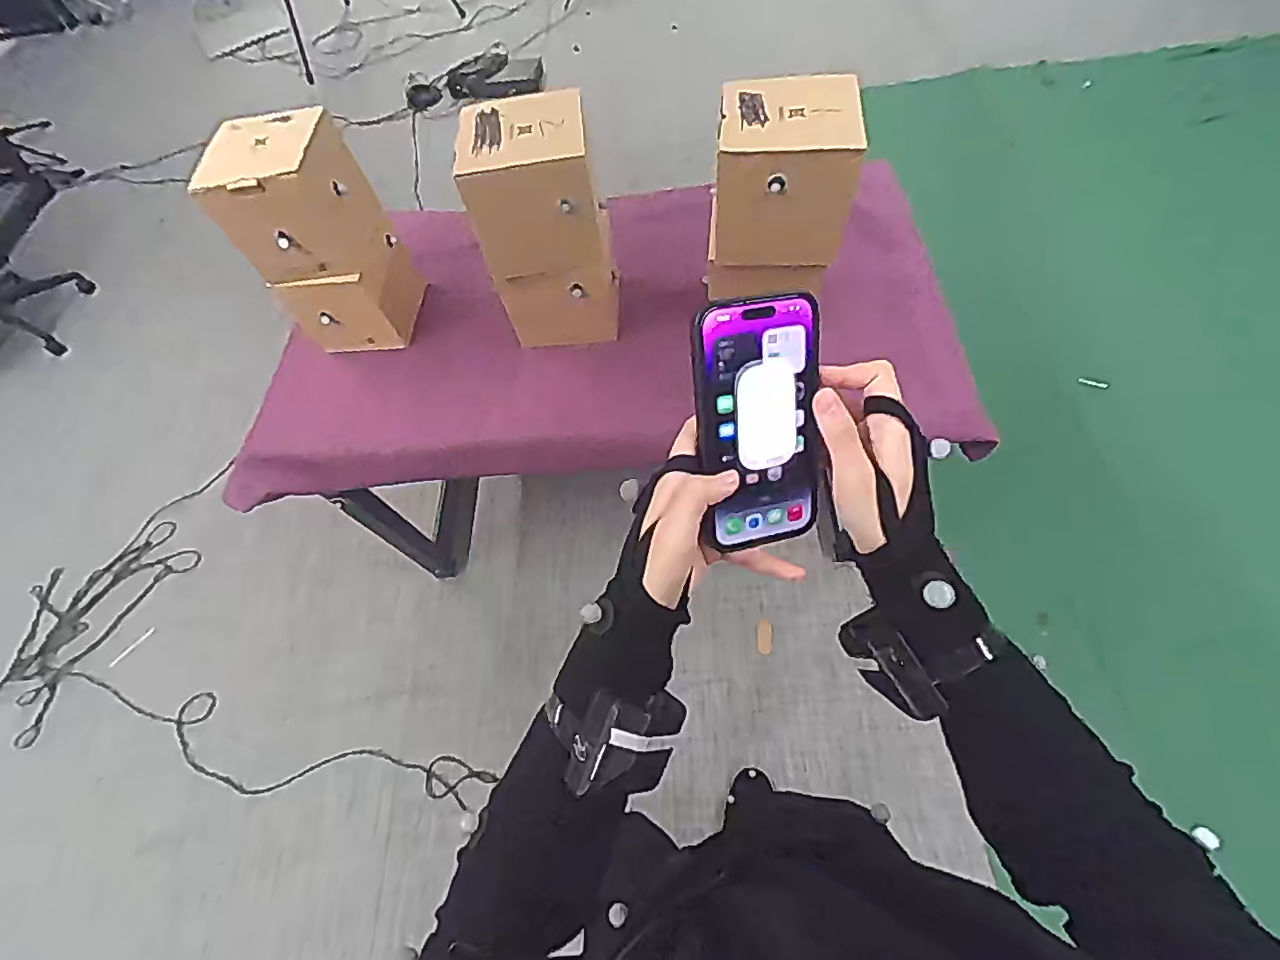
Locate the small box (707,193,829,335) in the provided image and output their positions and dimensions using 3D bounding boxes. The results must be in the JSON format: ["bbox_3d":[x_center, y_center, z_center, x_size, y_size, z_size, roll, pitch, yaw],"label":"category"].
[{"bbox_3d":[0.206,-0.358,0.895,0.179,0.176,0.168,2,61,10],"label":"small box"}]

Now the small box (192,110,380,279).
[{"bbox_3d":[-0.540,-0.439,0.856,0.168,0.176,0.179,-6,61,4],"label":"small box"}]

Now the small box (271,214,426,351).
[{"bbox_3d":[-0.520,-0.353,0.995,0.168,0.176,0.179,-2,61,7],"label":"small box"}]

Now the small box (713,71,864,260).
[{"bbox_3d":[0.194,-0.423,0.745,0.179,0.176,0.168,3,61,9],"label":"small box"}]

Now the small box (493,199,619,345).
[{"bbox_3d":[-0.133,-0.354,0.939,0.179,0.176,0.168,-3,61,7],"label":"small box"}]
